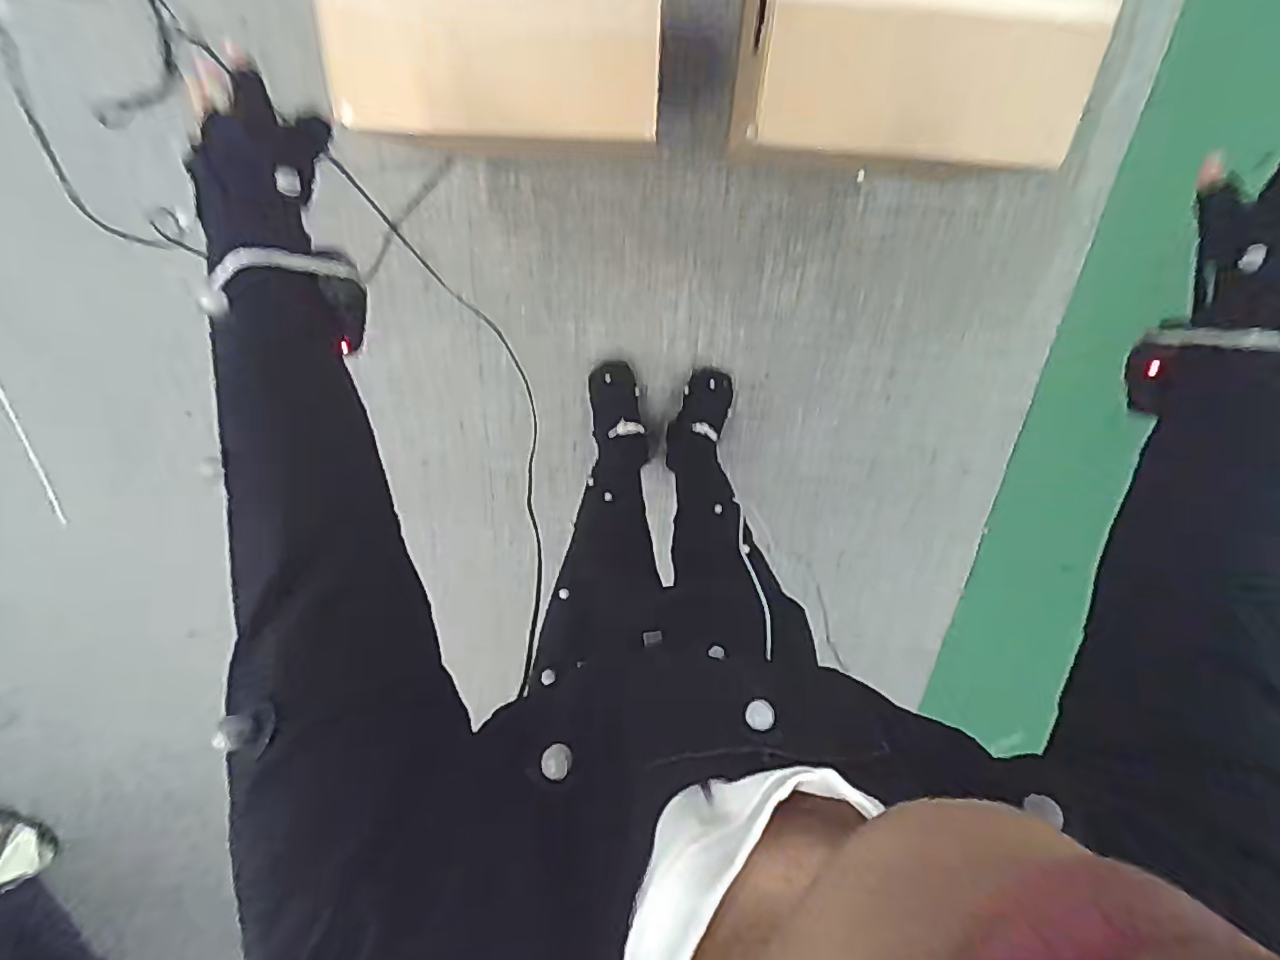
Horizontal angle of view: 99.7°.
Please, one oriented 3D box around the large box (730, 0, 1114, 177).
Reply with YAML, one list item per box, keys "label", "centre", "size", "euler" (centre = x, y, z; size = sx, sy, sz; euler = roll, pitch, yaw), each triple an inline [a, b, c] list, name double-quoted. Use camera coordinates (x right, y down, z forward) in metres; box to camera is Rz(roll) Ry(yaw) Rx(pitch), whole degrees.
- label: "large box"
  centre: [0.365, -0.628, 0.778]
  size: [0.408, 0.320, 0.320]
  euler: [5, 115, 0]
